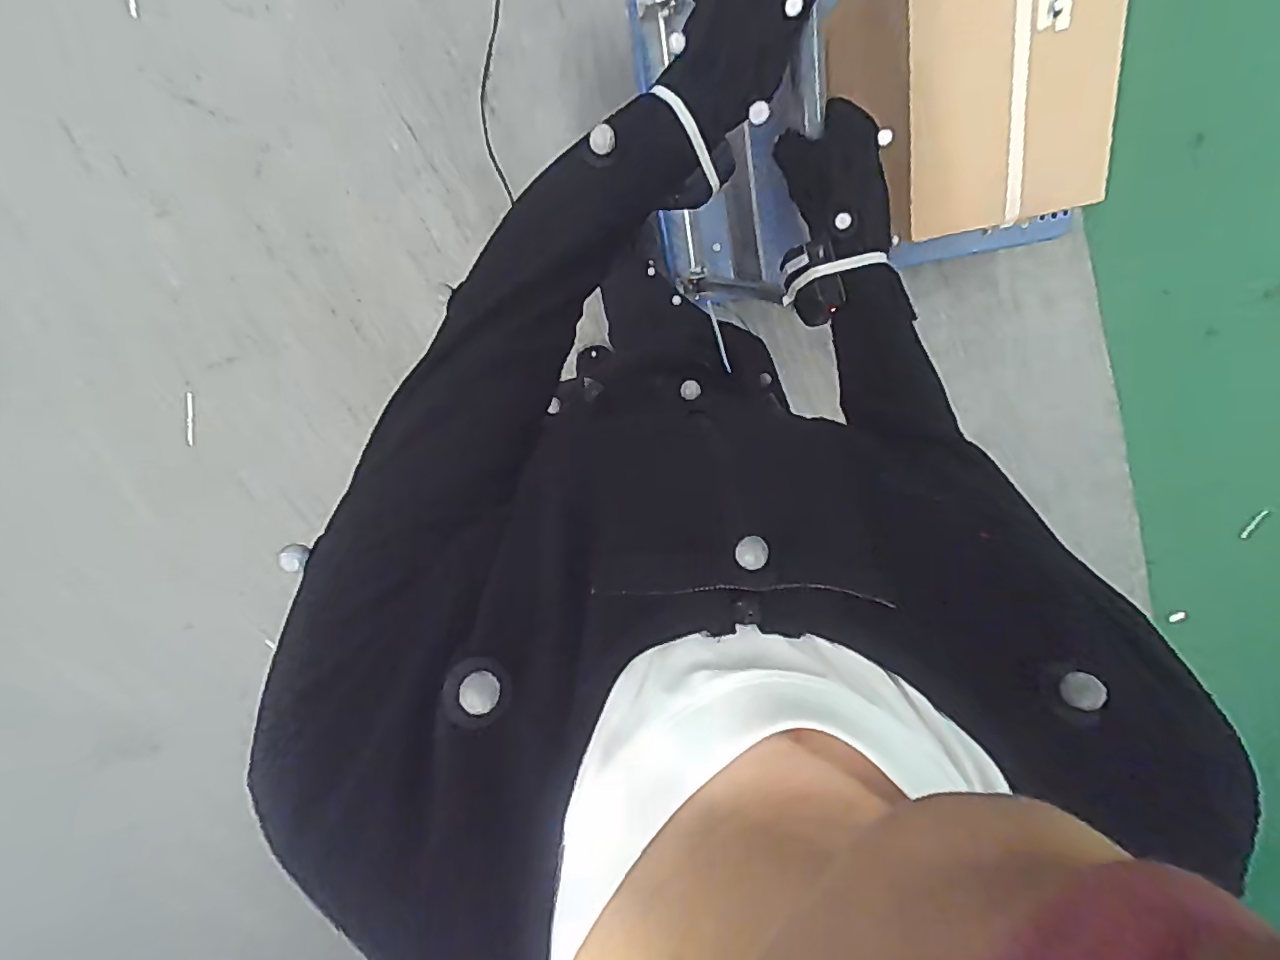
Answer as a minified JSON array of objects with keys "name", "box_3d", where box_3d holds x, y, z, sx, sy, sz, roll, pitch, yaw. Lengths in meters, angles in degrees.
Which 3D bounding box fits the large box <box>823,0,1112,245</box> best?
[{"name":"large box","box_3d":[0.532,-0.657,0.937,0.320,0.320,0.408,-12,111,1]}]
